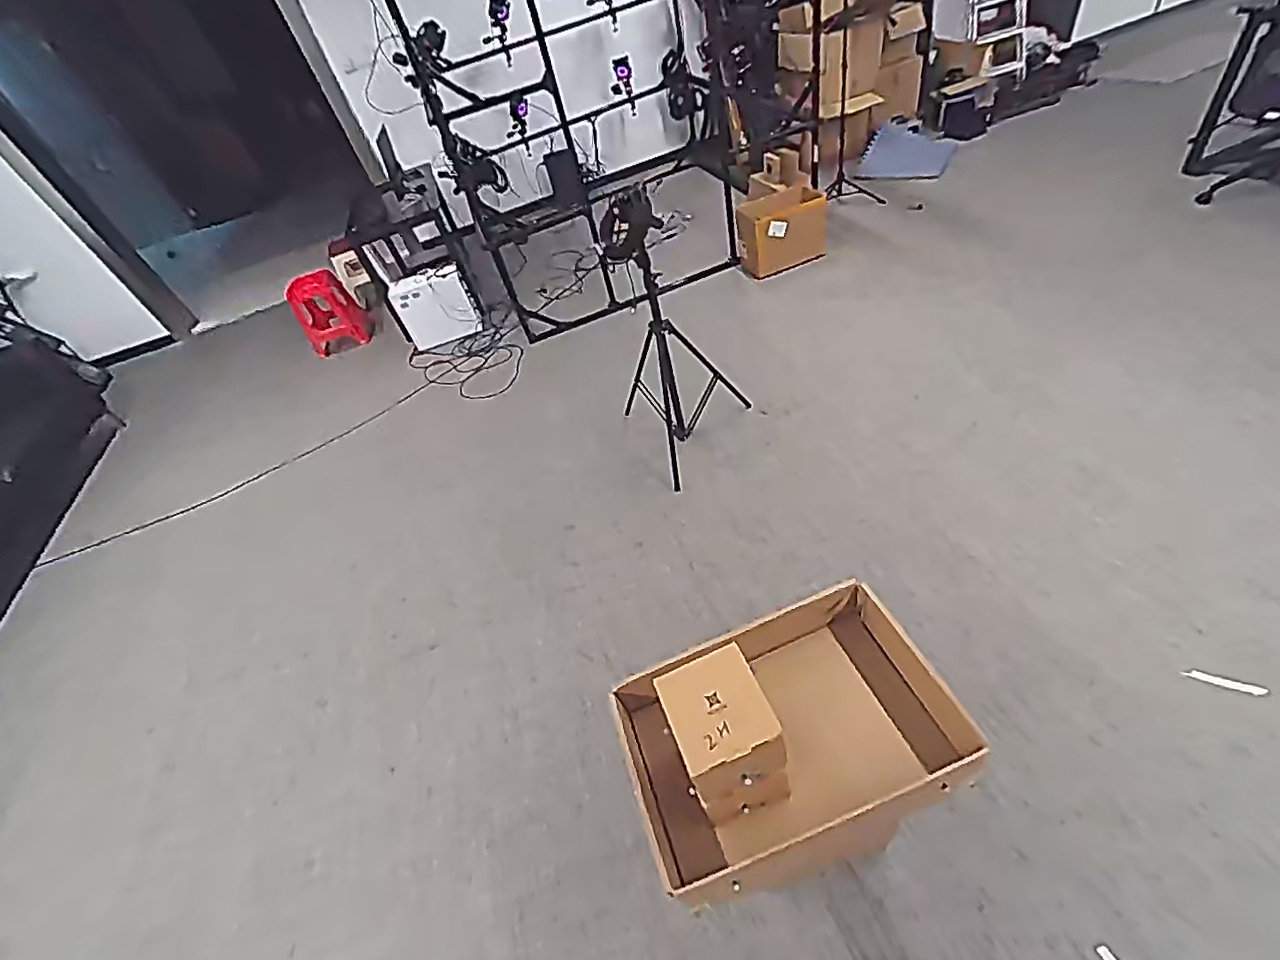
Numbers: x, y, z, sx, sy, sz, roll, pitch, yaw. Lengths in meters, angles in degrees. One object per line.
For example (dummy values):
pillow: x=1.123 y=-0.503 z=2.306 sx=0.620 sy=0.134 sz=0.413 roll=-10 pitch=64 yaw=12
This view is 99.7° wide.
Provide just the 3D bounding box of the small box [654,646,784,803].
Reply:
small box: x=0.142 y=0.436 z=0.964 sx=0.168 sy=0.176 sz=0.179 roll=-23 pitch=45 yaw=-5

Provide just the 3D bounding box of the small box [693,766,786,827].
small box: x=0.175 y=0.552 z=1.077 sx=0.168 sy=0.176 sz=0.179 roll=-23 pitch=45 yaw=-4
